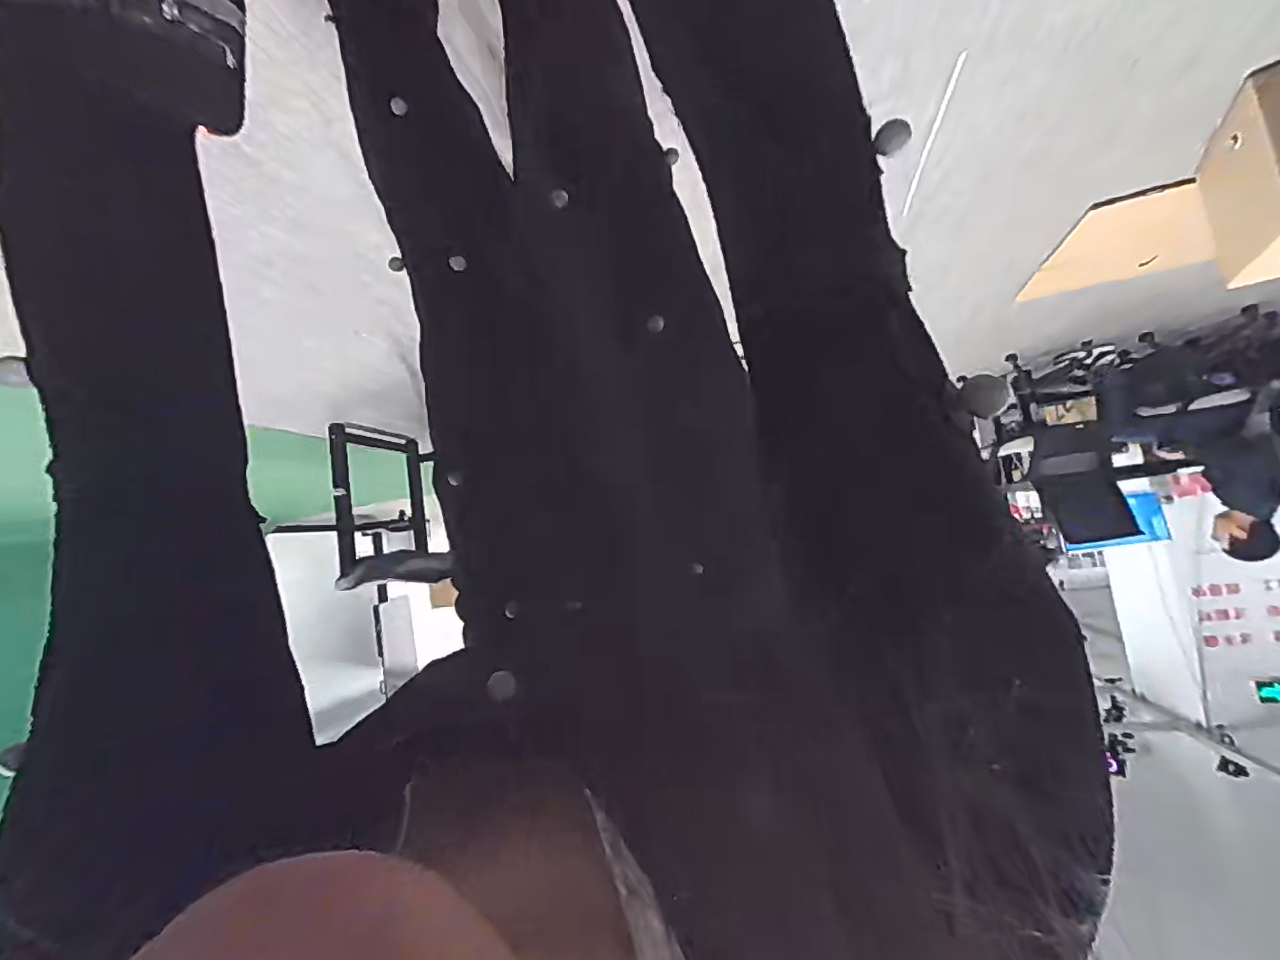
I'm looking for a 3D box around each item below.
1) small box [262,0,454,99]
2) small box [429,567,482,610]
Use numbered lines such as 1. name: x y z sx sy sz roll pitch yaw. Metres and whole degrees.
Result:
1. small box: -0.283 -0.559 0.557 0.179 0.176 0.168 24 159 -36
2. small box: -0.861 0.500 2.522 0.168 0.176 0.179 -10 173 16
